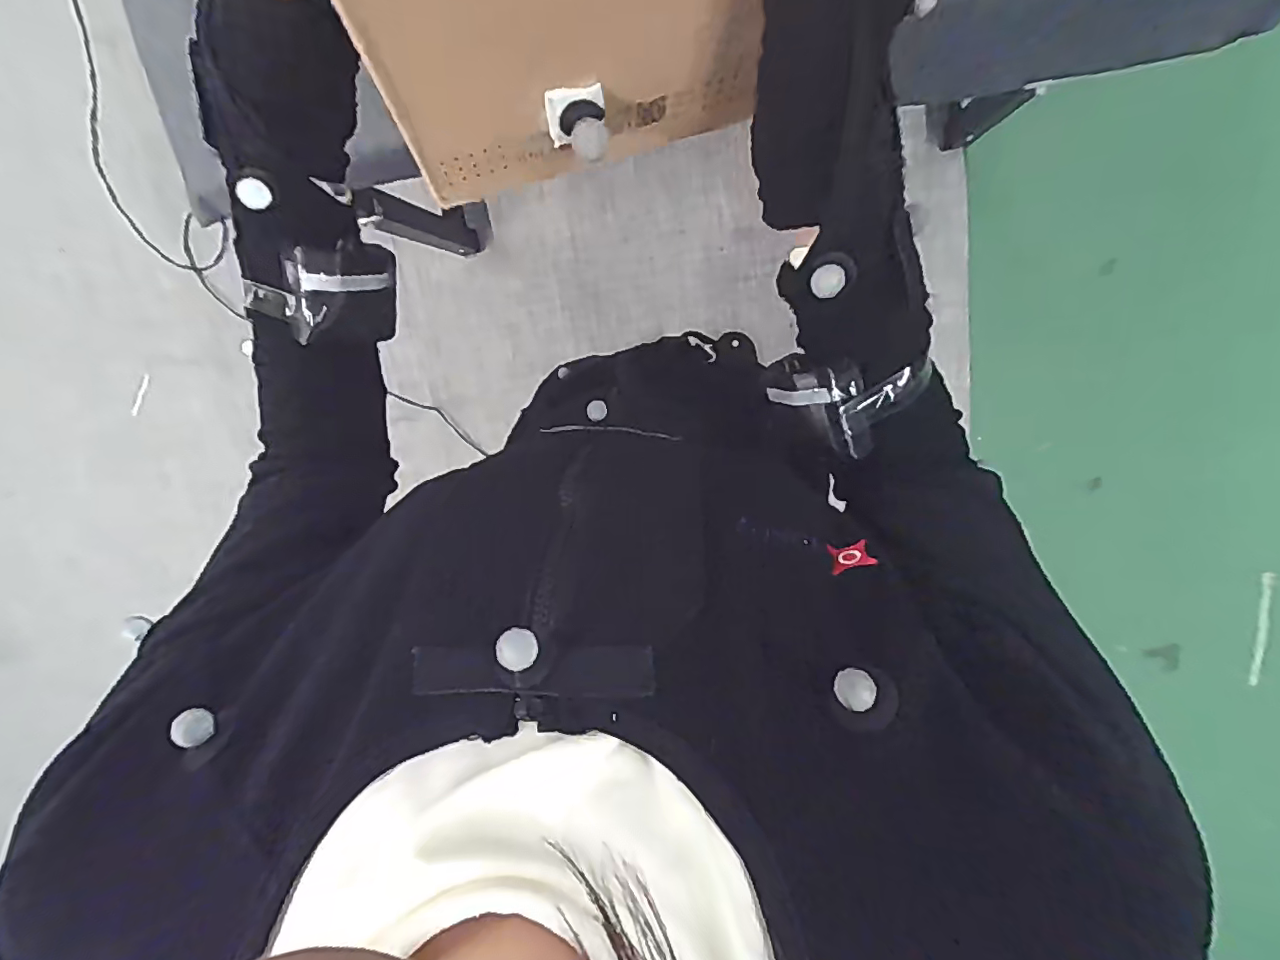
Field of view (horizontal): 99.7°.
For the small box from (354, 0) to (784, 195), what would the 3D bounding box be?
[{"bbox_3d":[-0.043,-0.250,0.196,0.168,0.176,0.179,-22,85,-6],"label":"small box"}]
